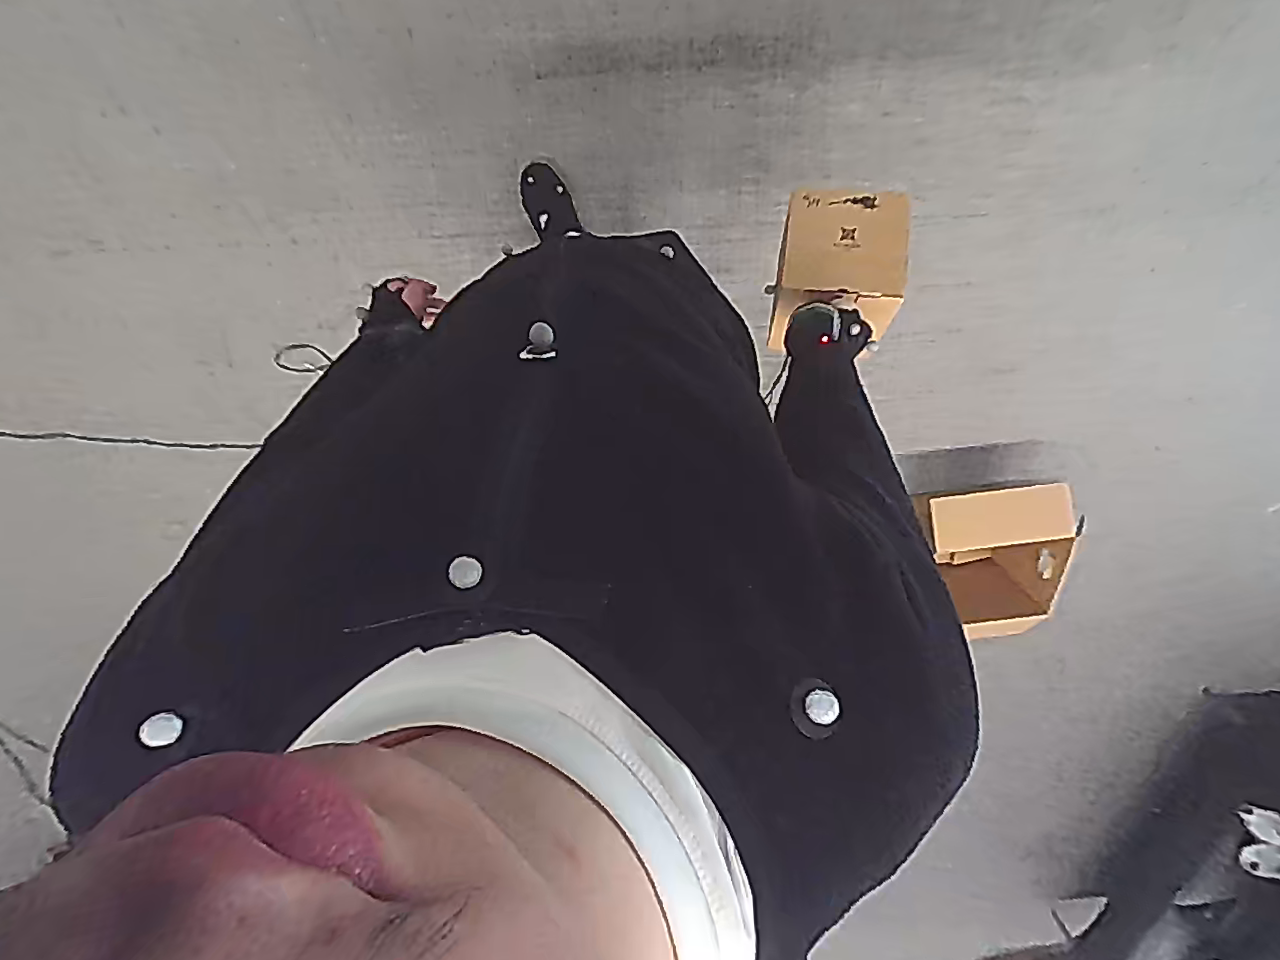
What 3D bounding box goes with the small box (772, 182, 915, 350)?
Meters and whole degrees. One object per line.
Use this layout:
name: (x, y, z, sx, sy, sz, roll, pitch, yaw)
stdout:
small box: (0.301, -0.318, 0.829, 0.168, 0.176, 0.179, 8, 77, 9)
